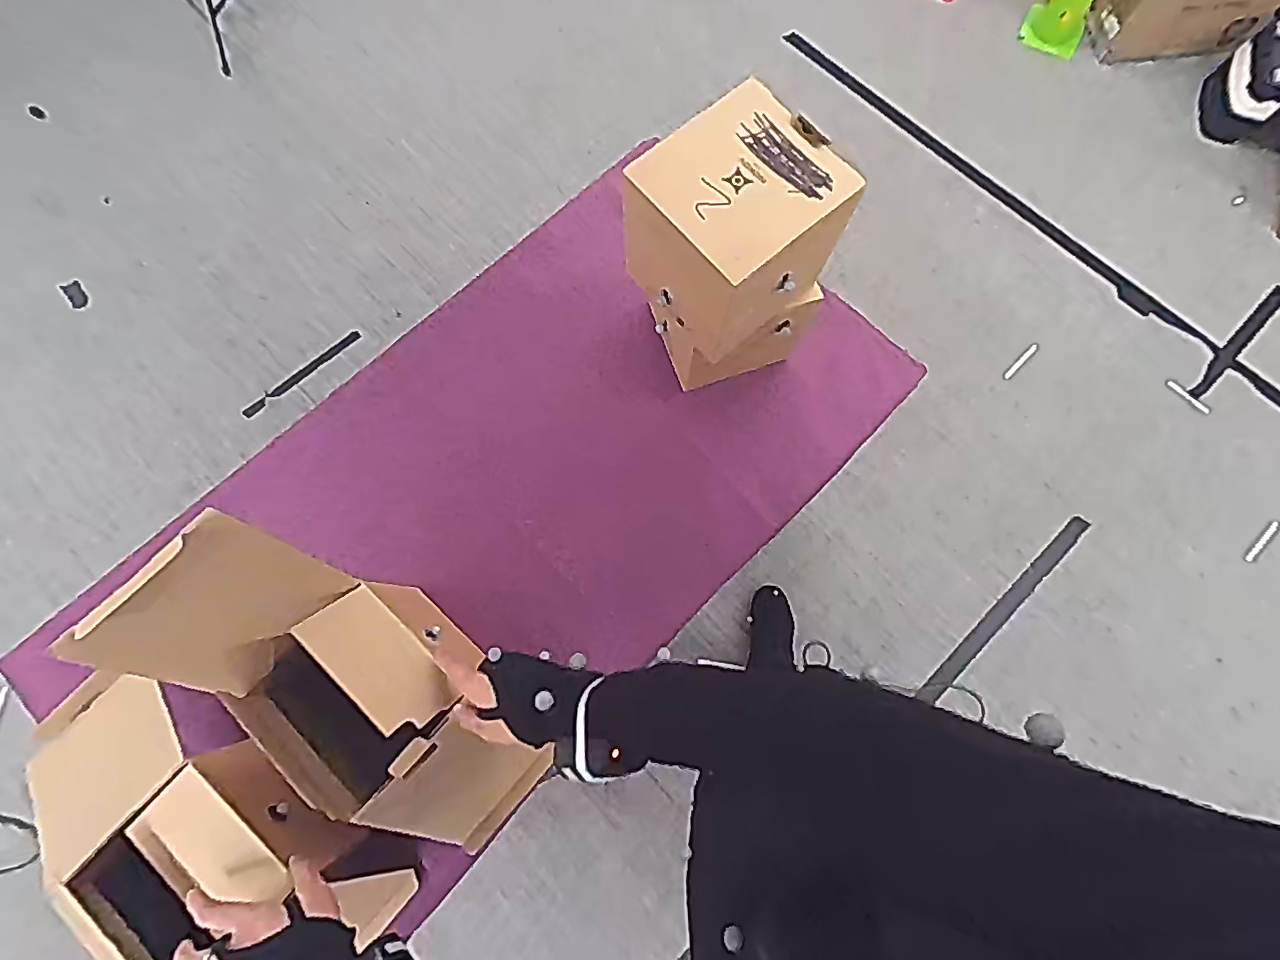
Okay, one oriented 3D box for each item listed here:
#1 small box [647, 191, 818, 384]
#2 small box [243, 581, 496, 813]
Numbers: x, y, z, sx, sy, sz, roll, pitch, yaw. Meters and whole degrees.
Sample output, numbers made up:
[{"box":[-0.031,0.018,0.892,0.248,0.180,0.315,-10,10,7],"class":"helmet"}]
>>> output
[{"box":[0.116,-0.259,0.758,0.179,0.176,0.168,-18,77,-4],"class":"small box"},{"box":[-0.299,0.239,0.643,0.179,0.176,0.168,42,79,9],"class":"small box"}]
